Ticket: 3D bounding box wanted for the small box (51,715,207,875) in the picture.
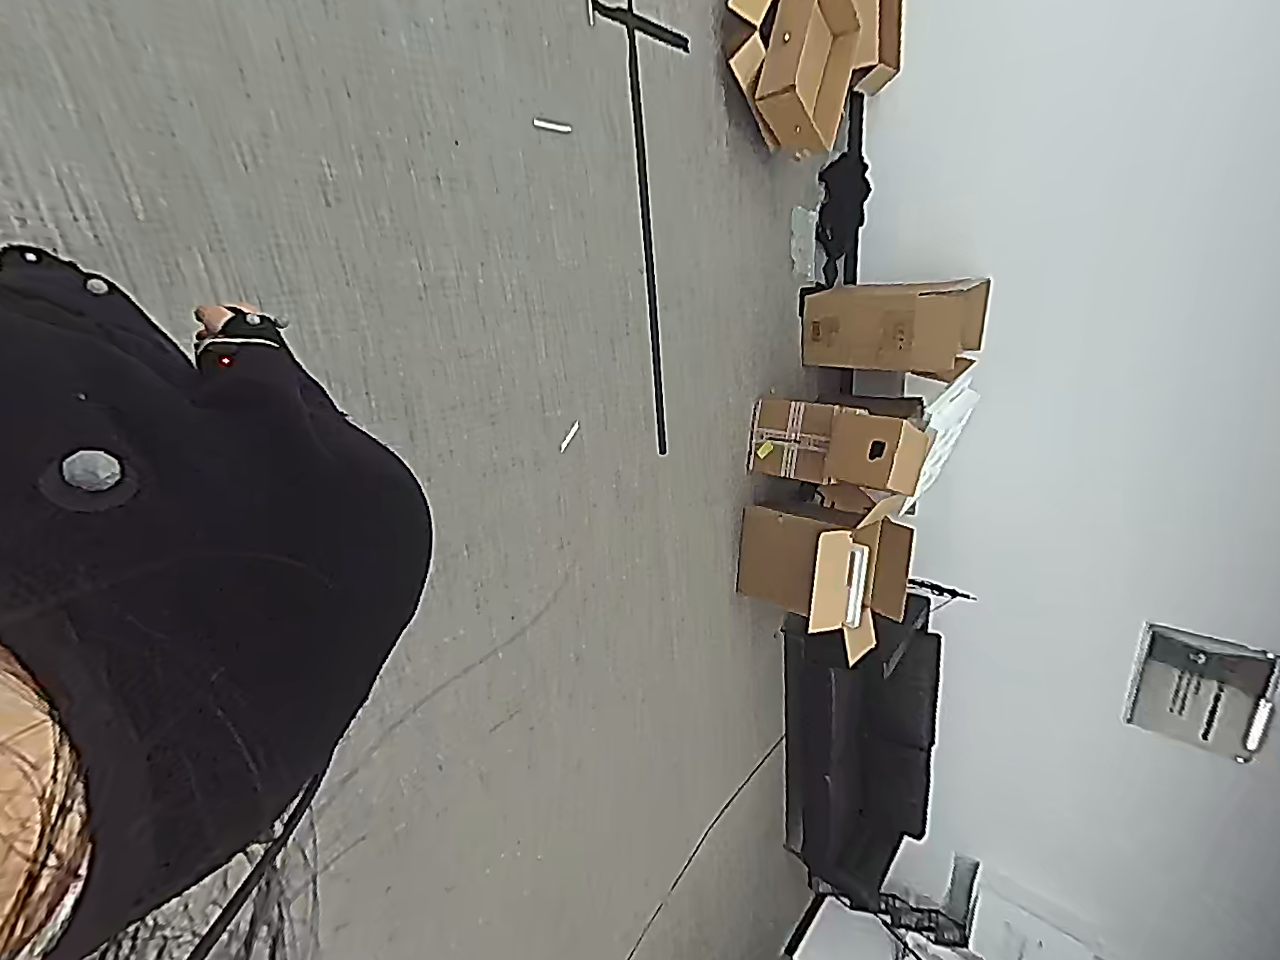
[{"bbox_3d":[-0.964,0.576,1.021,0.168,0.176,0.179,-26,119,-41],"label":"small box"}]
